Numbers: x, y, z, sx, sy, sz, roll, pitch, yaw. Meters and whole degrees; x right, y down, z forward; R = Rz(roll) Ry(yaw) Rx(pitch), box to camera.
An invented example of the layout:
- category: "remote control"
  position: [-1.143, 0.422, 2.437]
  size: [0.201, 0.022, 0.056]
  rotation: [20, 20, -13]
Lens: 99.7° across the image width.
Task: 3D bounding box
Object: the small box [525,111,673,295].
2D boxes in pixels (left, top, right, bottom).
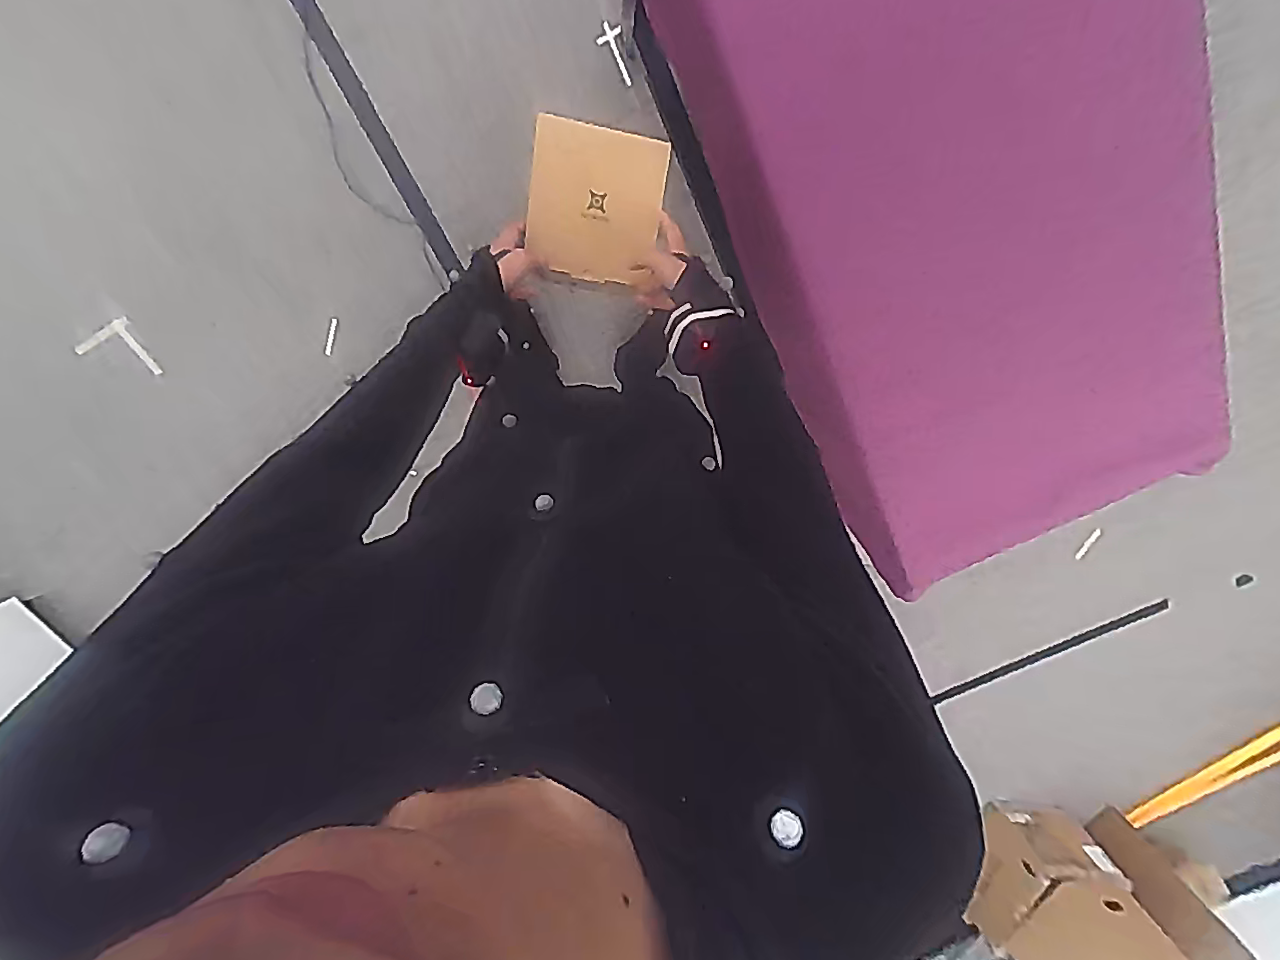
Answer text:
- category: "small box"
  position: [-0.065, -0.362, 0.744]
  size: [0.168, 0.176, 0.179]
  rotation: [6, 105, -11]
